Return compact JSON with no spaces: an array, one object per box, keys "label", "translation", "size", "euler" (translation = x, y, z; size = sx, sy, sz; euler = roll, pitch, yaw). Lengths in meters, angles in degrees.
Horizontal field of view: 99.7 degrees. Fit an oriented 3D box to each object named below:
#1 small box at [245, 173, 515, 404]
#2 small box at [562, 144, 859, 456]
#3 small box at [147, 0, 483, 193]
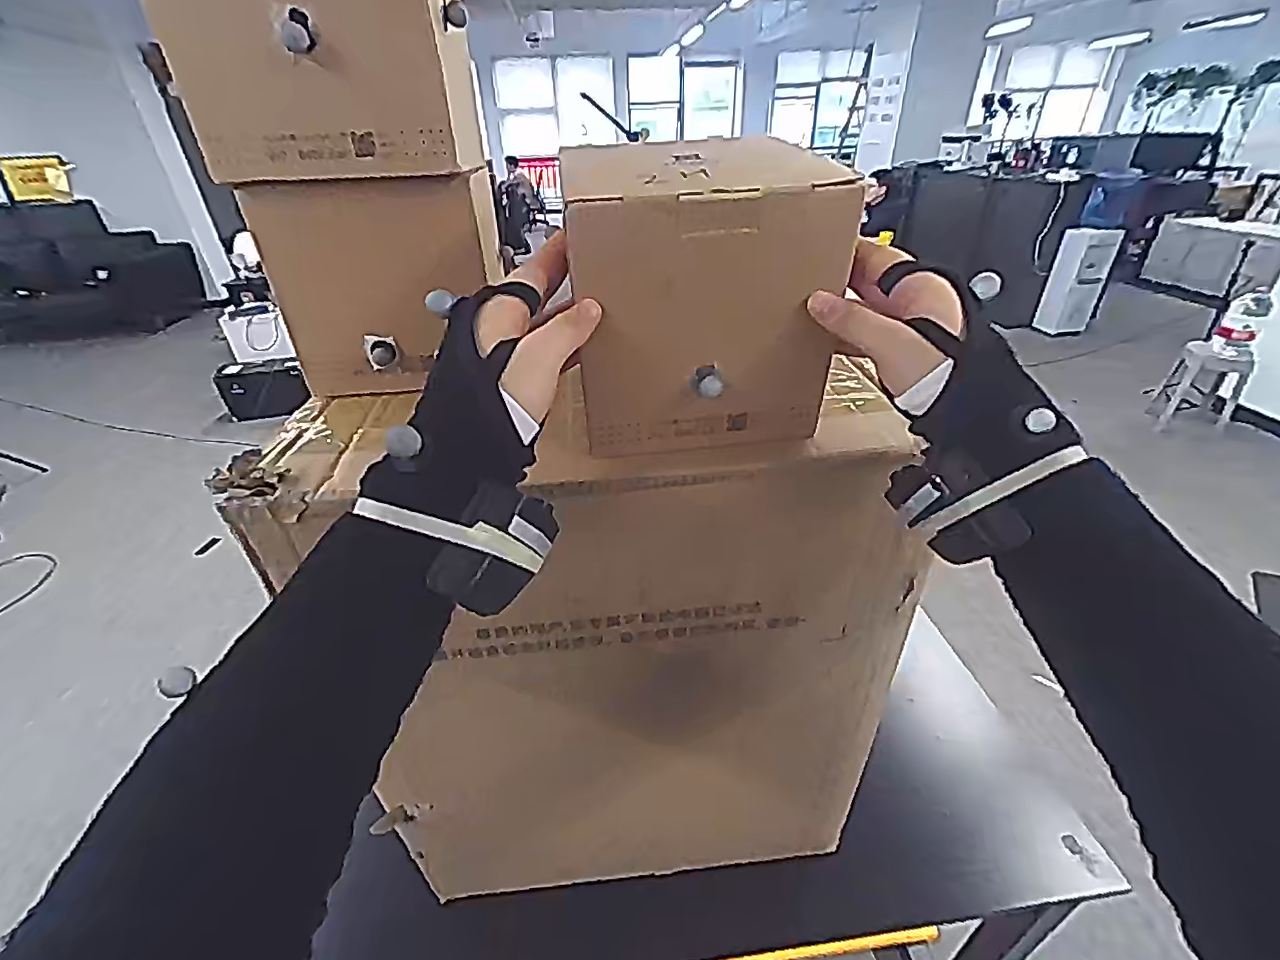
[{"label":"small box","translation":[-0.215,-0.185,0.507],"size":[0.168,0.176,0.179],"euler":[-8,34,-7]},{"label":"small box","translation":[0.032,-0.139,0.404],"size":[0.168,0.176,0.179],"euler":[-7,39,-4]},{"label":"small box","translation":[-0.221,-0.315,0.406],"size":[0.168,0.176,0.179],"euler":[-6,33,-6]}]
